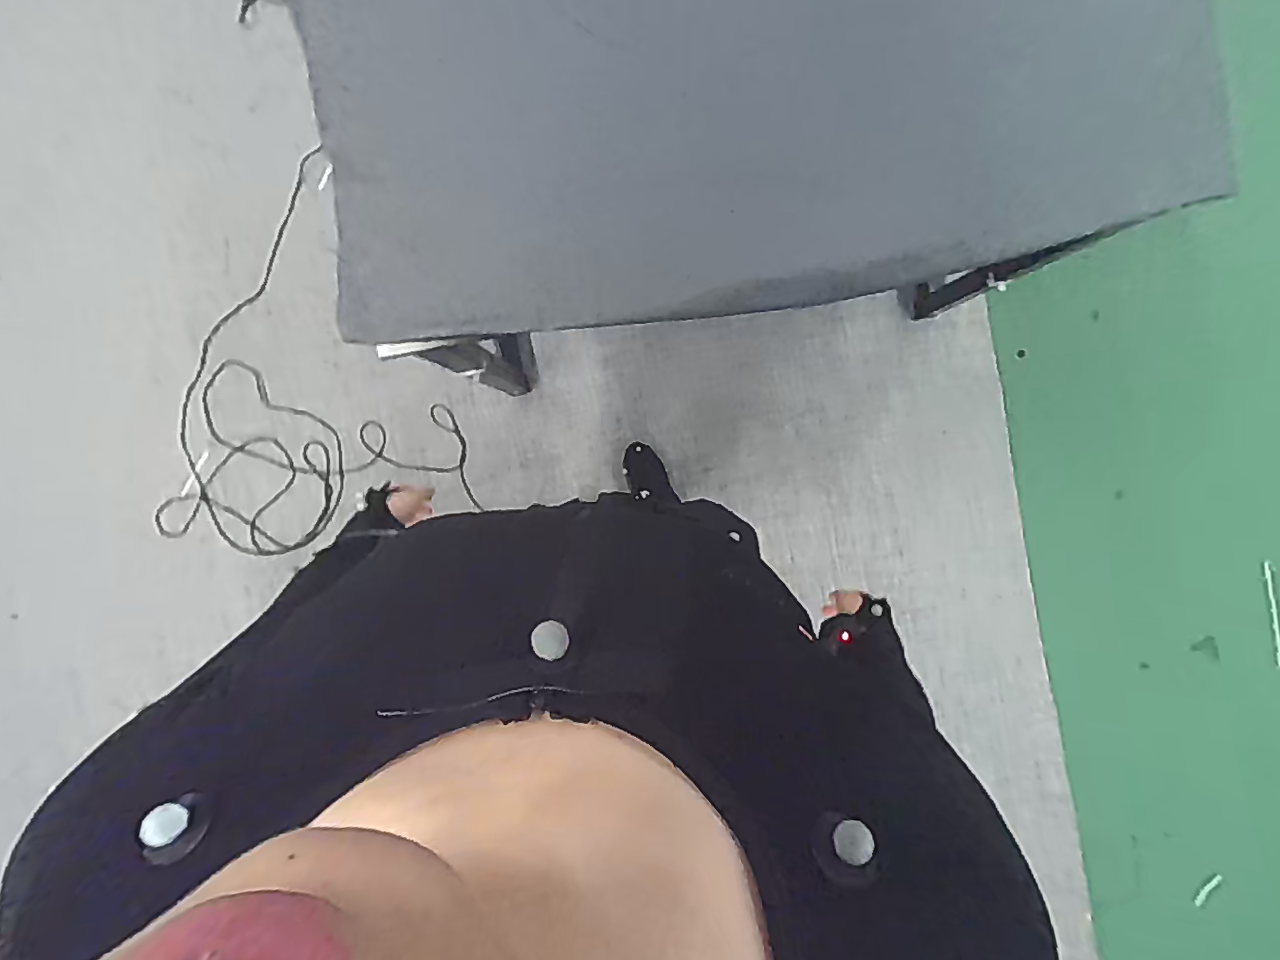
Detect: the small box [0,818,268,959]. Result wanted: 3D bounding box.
[{"bbox_3d":[-0.597,0.542,0.629,0.179,0.176,0.168,37,94,-5],"label":"small box"}]
